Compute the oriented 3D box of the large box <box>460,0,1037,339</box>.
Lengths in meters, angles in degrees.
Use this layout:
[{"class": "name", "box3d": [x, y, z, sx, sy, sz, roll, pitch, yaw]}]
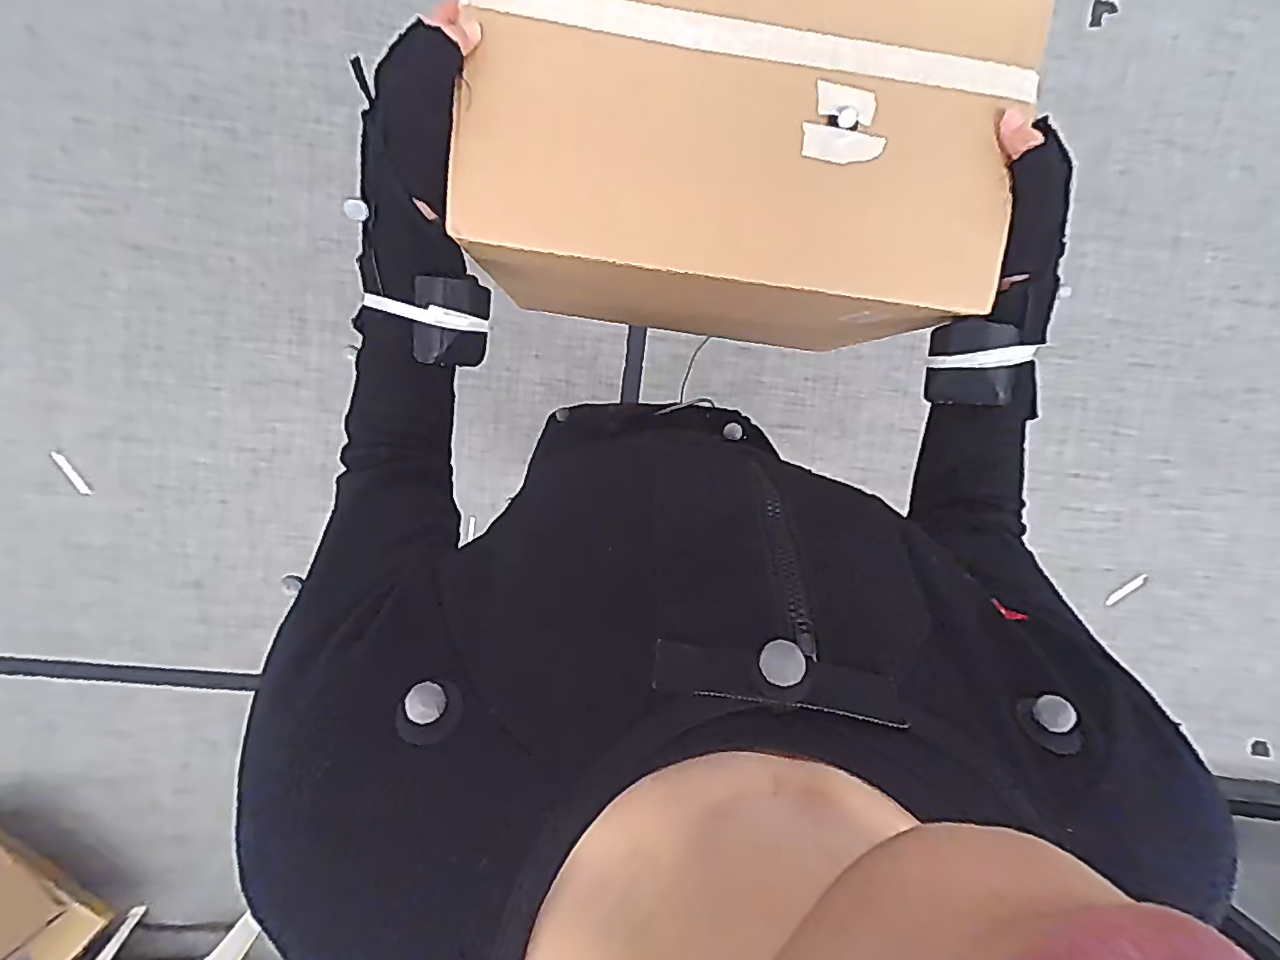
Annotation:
[{"class": "large box", "box3d": [0.070, -0.332, 0.530, 0.408, 0.320, 0.320, 7, 99, -5]}]
